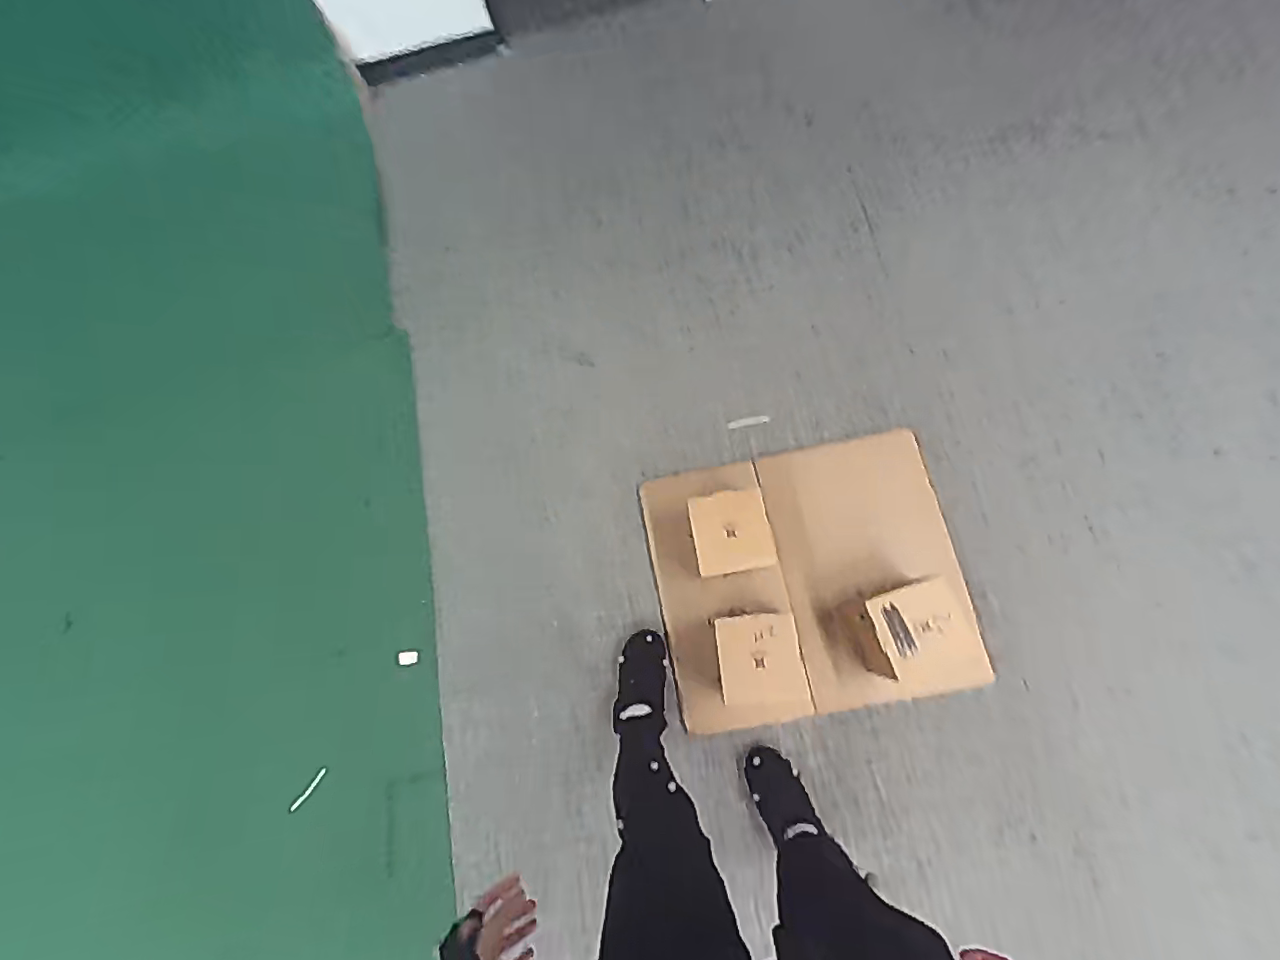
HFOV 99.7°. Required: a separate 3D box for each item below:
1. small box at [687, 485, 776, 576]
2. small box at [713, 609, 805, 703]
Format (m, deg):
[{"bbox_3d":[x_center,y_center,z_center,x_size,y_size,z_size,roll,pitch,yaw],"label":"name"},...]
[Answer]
[{"bbox_3d":[0.205,0.123,1.244,0.168,0.176,0.179,-10,75,3],"label":"small box"},{"bbox_3d":[0.250,0.375,1.176,0.168,0.176,0.179,-6,76,4],"label":"small box"}]
